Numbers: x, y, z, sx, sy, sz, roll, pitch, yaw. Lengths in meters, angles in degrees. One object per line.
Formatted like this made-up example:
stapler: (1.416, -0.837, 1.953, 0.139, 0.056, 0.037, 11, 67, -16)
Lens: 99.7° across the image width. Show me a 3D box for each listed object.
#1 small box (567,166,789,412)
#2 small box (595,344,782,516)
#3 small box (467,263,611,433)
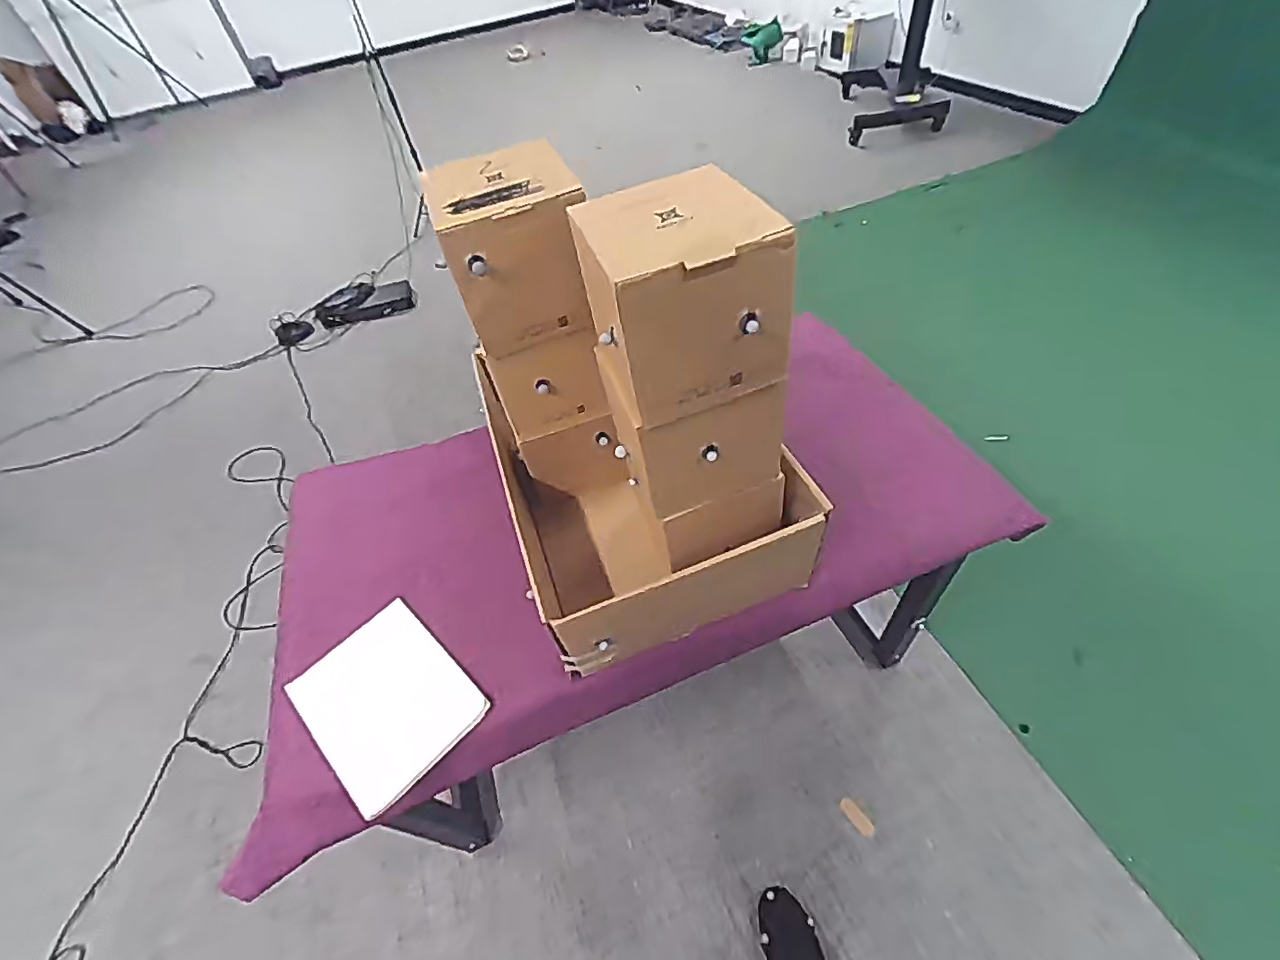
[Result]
small box: (0.039, -0.190, 0.562, 0.168, 0.176, 0.179, -19, 48, -6)
small box: (0.060, -0.084, 0.684, 0.179, 0.176, 0.168, -20, 48, -5)
small box: (-0.142, -0.191, 0.816, 0.168, 0.176, 0.179, -19, 51, -7)
